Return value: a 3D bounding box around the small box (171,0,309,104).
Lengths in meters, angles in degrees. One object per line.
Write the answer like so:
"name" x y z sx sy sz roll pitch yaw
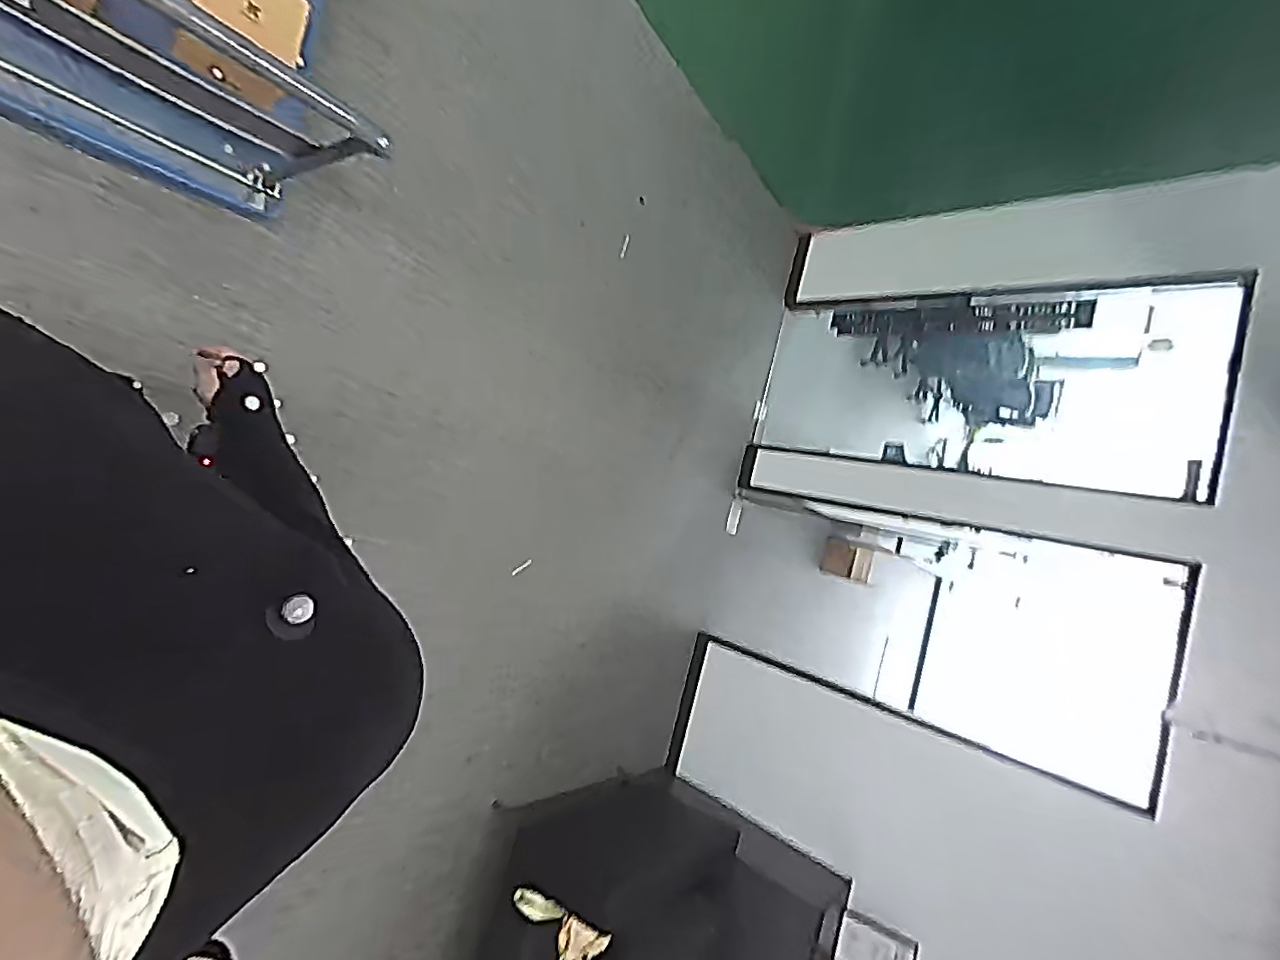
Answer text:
"small box" -0.789 -0.895 1.065 0.168 0.176 0.179 13 90 -51
